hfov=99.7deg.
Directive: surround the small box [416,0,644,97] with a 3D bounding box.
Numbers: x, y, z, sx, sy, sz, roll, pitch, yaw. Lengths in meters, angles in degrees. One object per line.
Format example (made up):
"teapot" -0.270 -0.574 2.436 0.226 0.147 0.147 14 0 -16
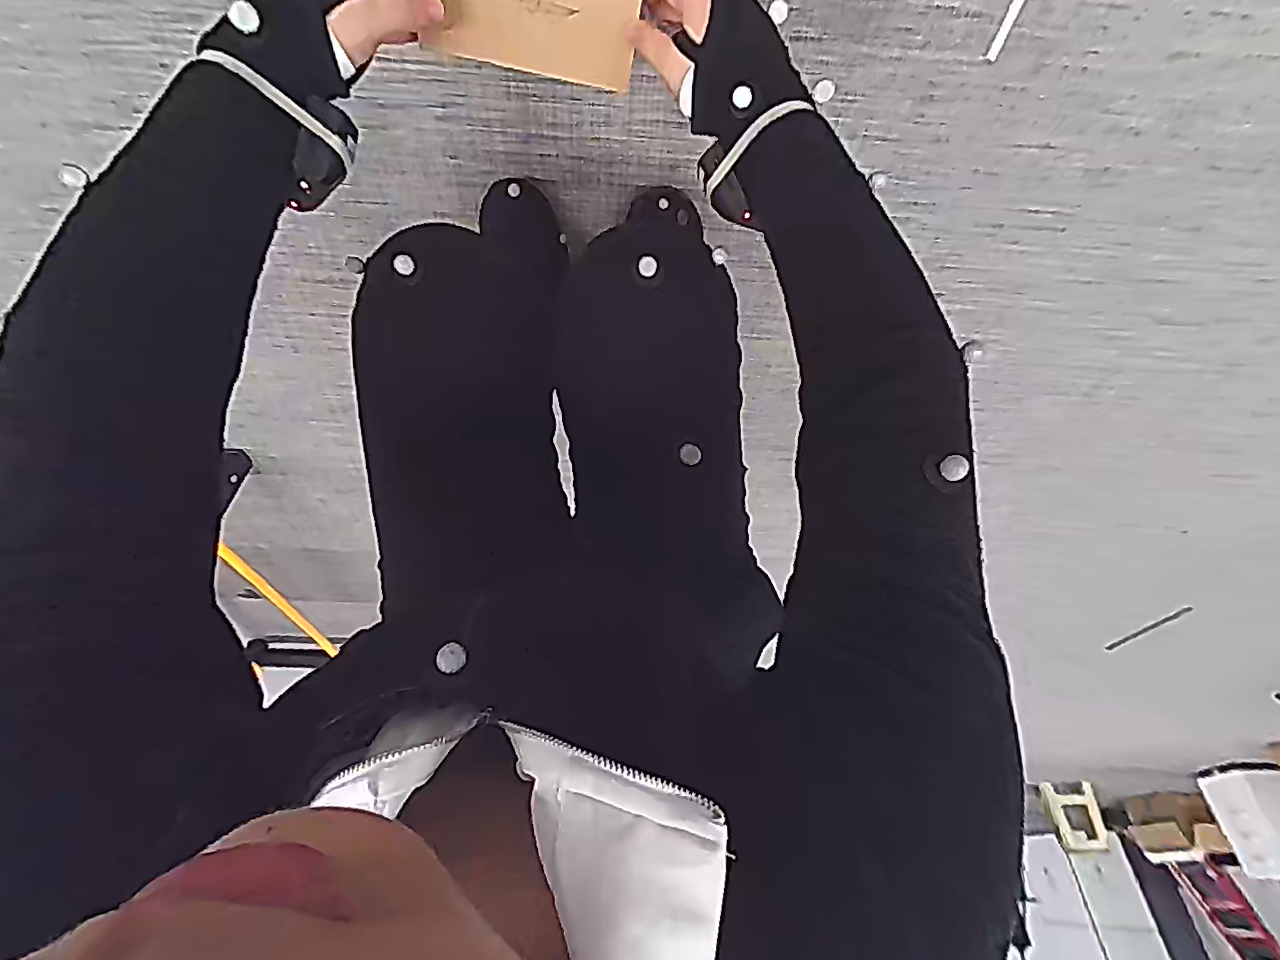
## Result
"small box" -0.075 -0.438 0.411 0.168 0.176 0.179 6 143 -10
